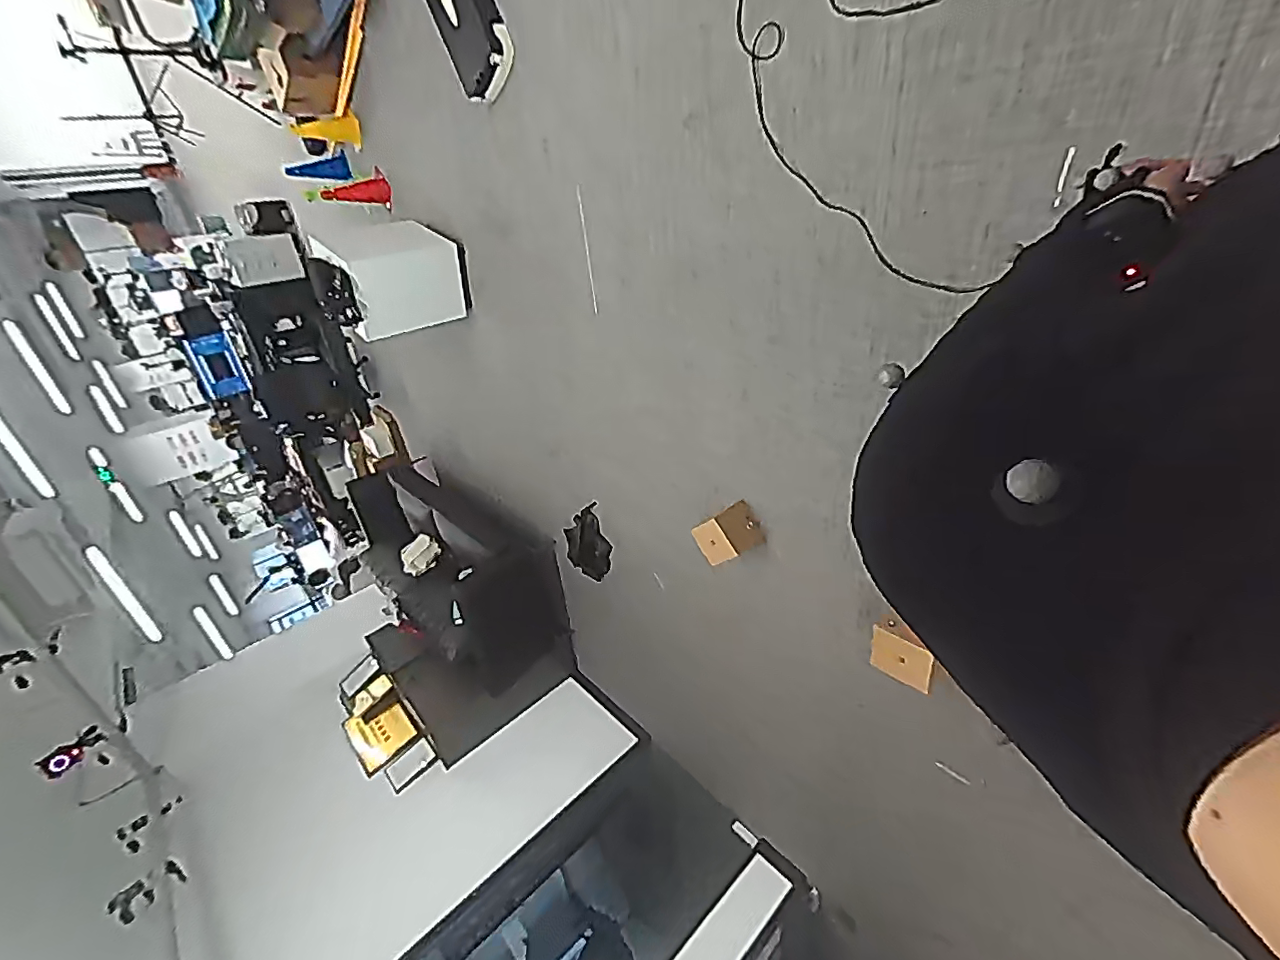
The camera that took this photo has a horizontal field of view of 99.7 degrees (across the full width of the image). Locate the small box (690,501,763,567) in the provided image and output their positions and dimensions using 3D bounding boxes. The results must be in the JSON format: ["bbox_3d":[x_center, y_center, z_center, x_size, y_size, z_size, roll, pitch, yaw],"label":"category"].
[{"bbox_3d":[0.331,0.206,2.057,0.168,0.176,0.179,57,146,5],"label":"small box"}]

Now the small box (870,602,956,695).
[{"bbox_3d":[0.815,0.494,1.614,0.179,0.176,0.168,23,130,44],"label":"small box"}]
